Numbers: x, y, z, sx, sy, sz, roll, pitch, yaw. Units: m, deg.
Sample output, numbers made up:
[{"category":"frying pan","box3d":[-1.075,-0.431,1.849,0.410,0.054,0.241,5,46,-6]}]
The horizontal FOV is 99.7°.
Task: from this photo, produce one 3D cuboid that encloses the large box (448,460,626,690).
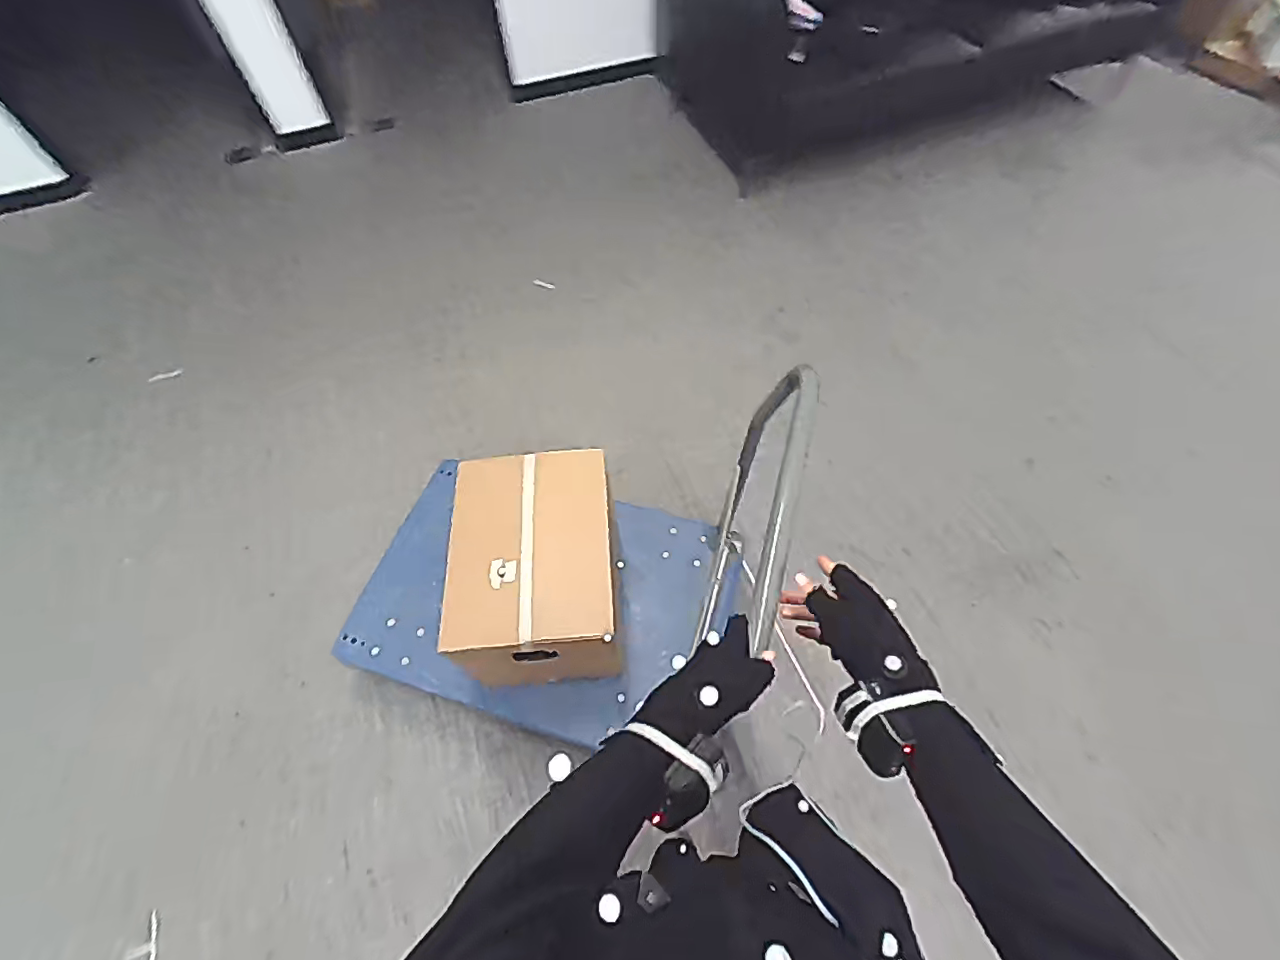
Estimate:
[{"category":"large box","box3d":[-0.203,0.213,1.188,0.320,0.320,0.408,-6,58,0]}]
